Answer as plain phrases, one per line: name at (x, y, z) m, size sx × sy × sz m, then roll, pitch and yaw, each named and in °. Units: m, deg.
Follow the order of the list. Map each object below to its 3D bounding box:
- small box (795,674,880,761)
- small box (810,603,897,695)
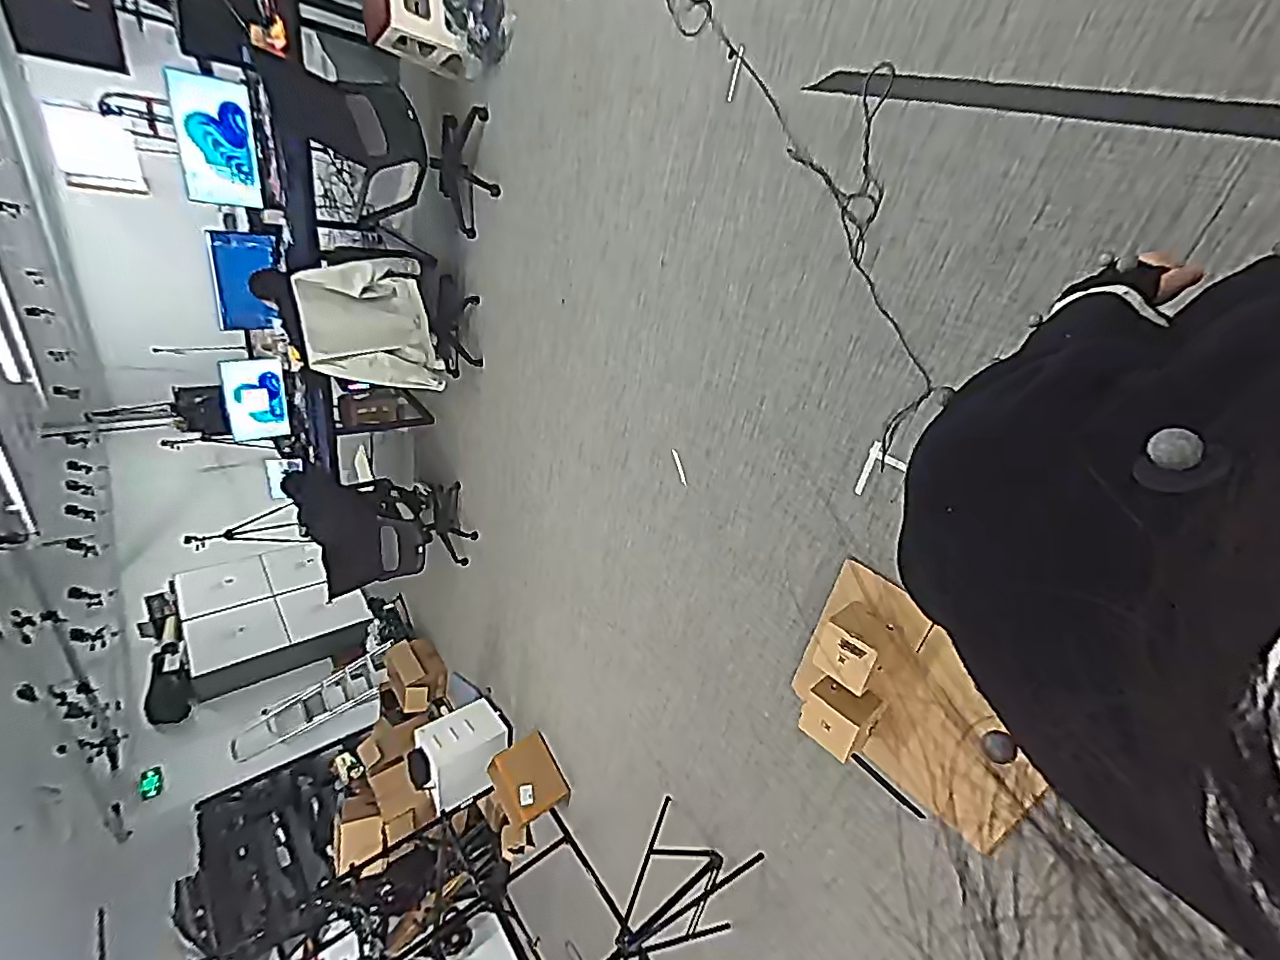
small box at (0.631, 0.742, 1.729) m, size 0.179 × 0.176 × 0.168 m, roll 30°, pitch 124°, yaw 40°
small box at (0.647, 0.501, 1.631) m, size 0.168 × 0.176 × 0.179 m, roll 32°, pitch 125°, yaw 40°
